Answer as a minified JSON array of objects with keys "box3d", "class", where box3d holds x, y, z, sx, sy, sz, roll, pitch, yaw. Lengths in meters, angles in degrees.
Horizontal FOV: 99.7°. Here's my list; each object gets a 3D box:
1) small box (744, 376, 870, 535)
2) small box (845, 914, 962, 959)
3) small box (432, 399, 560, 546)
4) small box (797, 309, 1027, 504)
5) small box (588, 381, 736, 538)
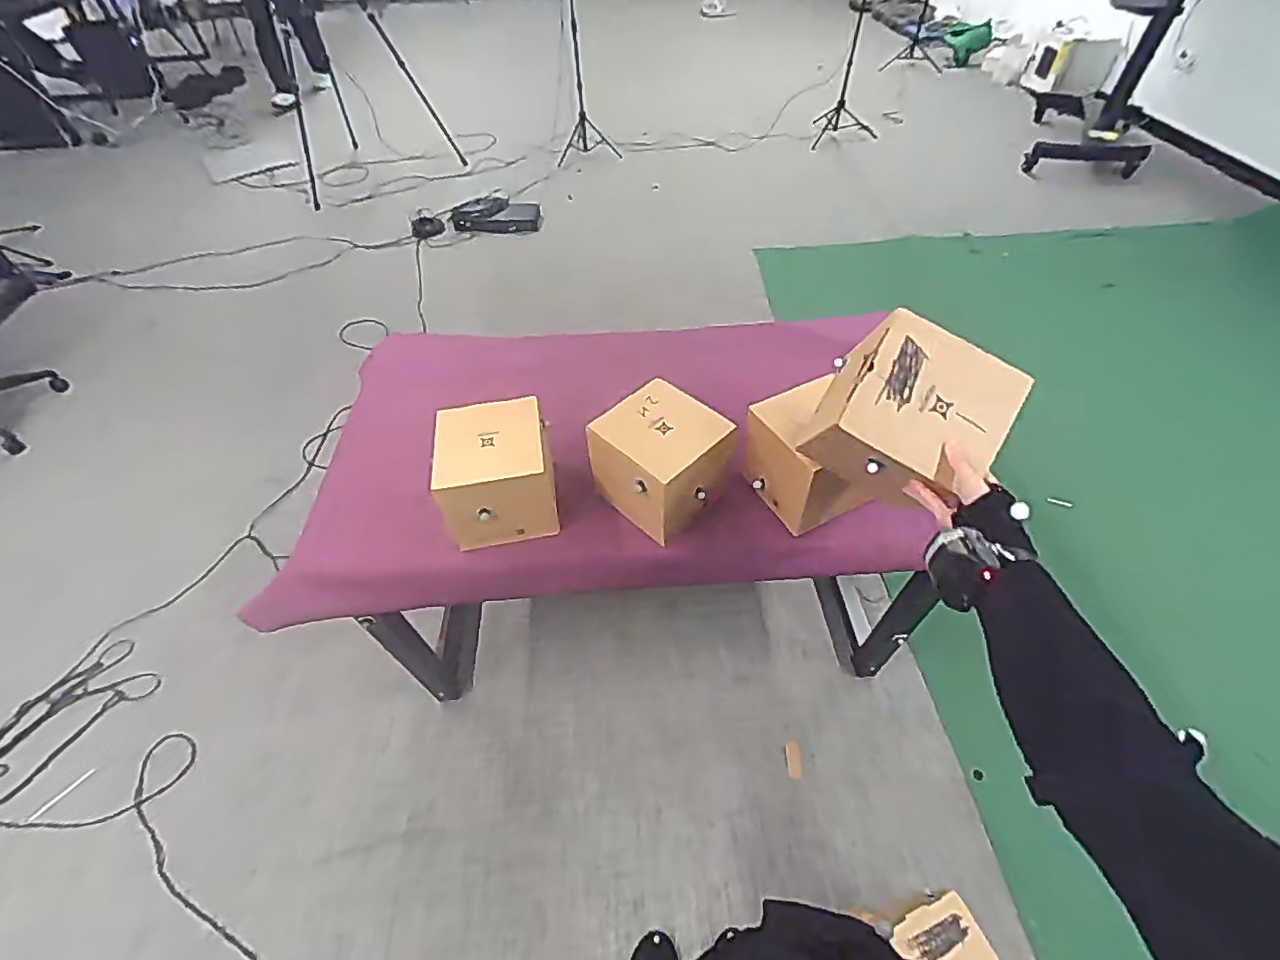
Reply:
[{"box3d":[0.292,-0.039,0.907,0.179,0.176,0.168,-23,51,-15],"class":"small box"},{"box3d":[0.501,0.948,1.033,0.179,0.176,0.168,4,51,6],"class":"small box"},{"box3d":[-0.232,-0.006,0.899,0.168,0.176,0.179,-10,49,-6],"class":"small box"},{"box3d":[0.331,-0.080,0.697,0.179,0.176,0.168,31,84,4],"class":"small box"},{"box3d":[0.036,-0.028,0.905,0.168,0.176,0.179,-37,58,-26],"class":"small box"}]
